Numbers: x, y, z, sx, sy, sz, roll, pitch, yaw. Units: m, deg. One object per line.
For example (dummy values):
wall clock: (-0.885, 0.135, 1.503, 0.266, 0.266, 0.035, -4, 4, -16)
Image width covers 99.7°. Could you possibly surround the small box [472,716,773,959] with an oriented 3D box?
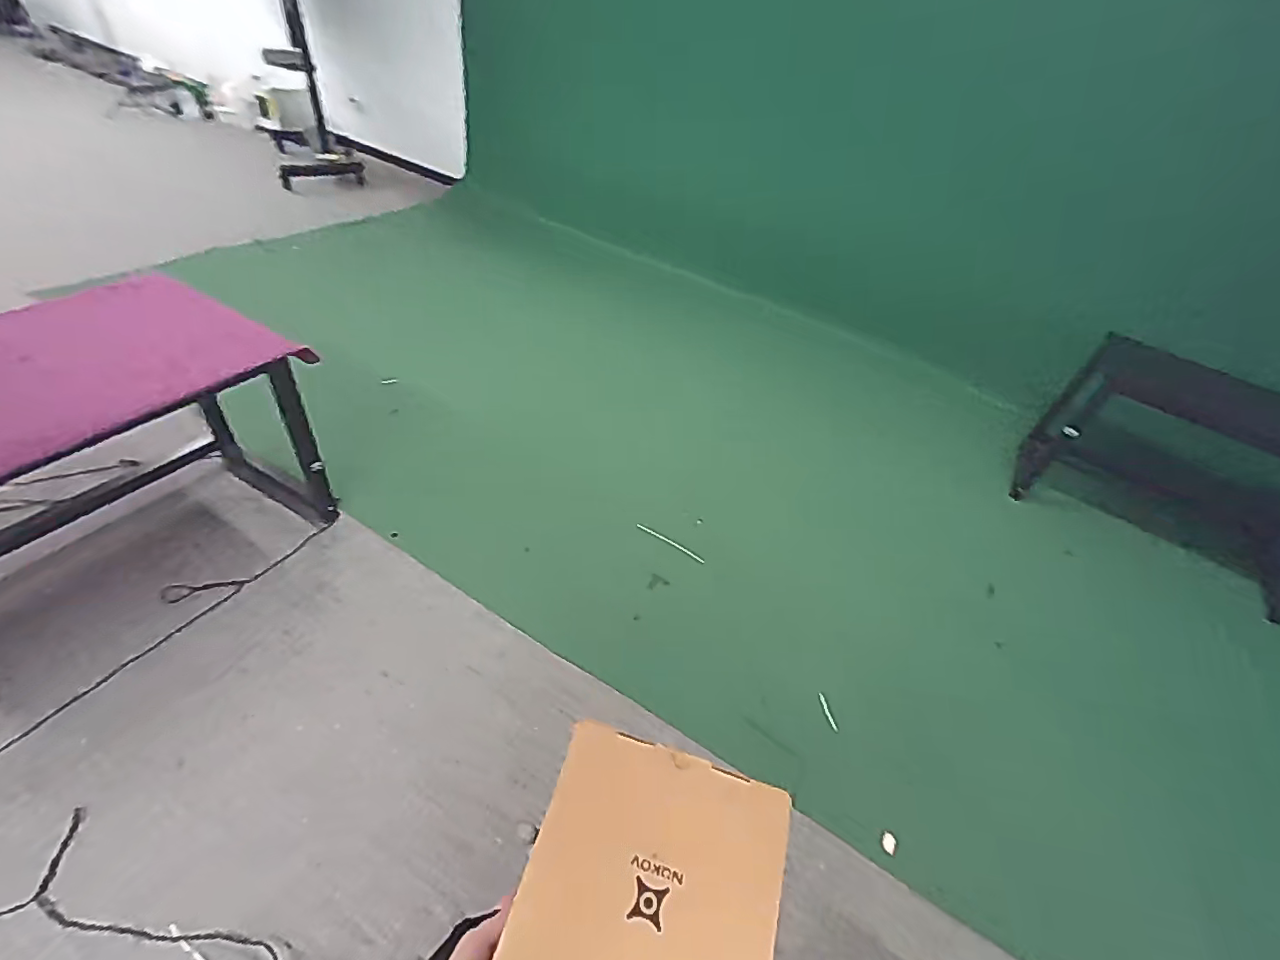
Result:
small box: (-0.013, 0.316, 0.414, 0.168, 0.176, 0.179, 18, 51, 6)
